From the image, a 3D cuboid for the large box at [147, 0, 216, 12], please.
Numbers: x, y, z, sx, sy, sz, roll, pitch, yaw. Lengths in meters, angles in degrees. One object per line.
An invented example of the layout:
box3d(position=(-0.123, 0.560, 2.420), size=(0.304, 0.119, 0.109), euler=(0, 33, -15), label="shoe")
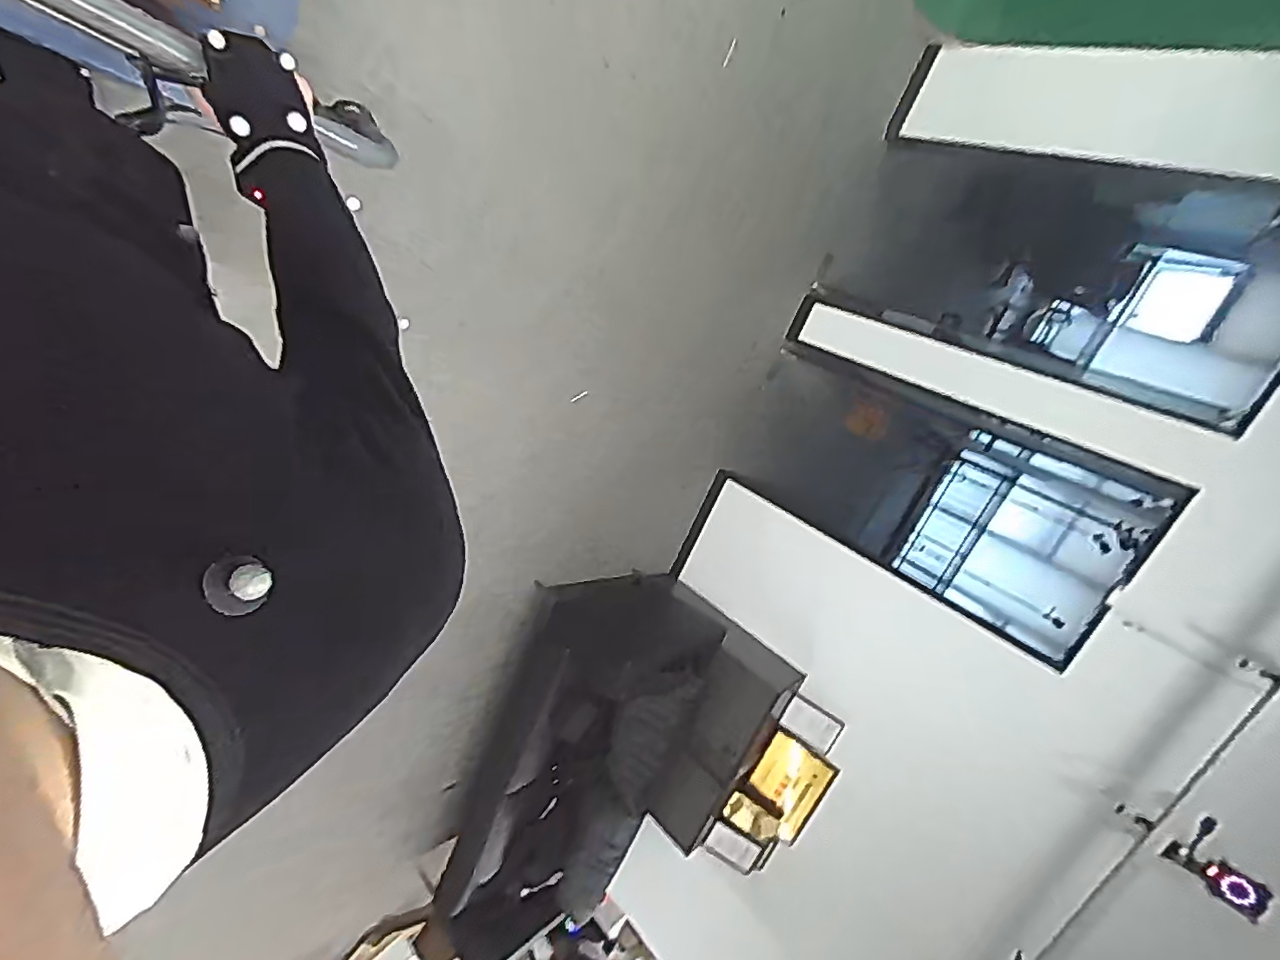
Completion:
box3d(position=(-0.724, -0.922, 0.686), size=(0.320, 0.320, 0.408), euler=(7, 112, -54), label="large box")
